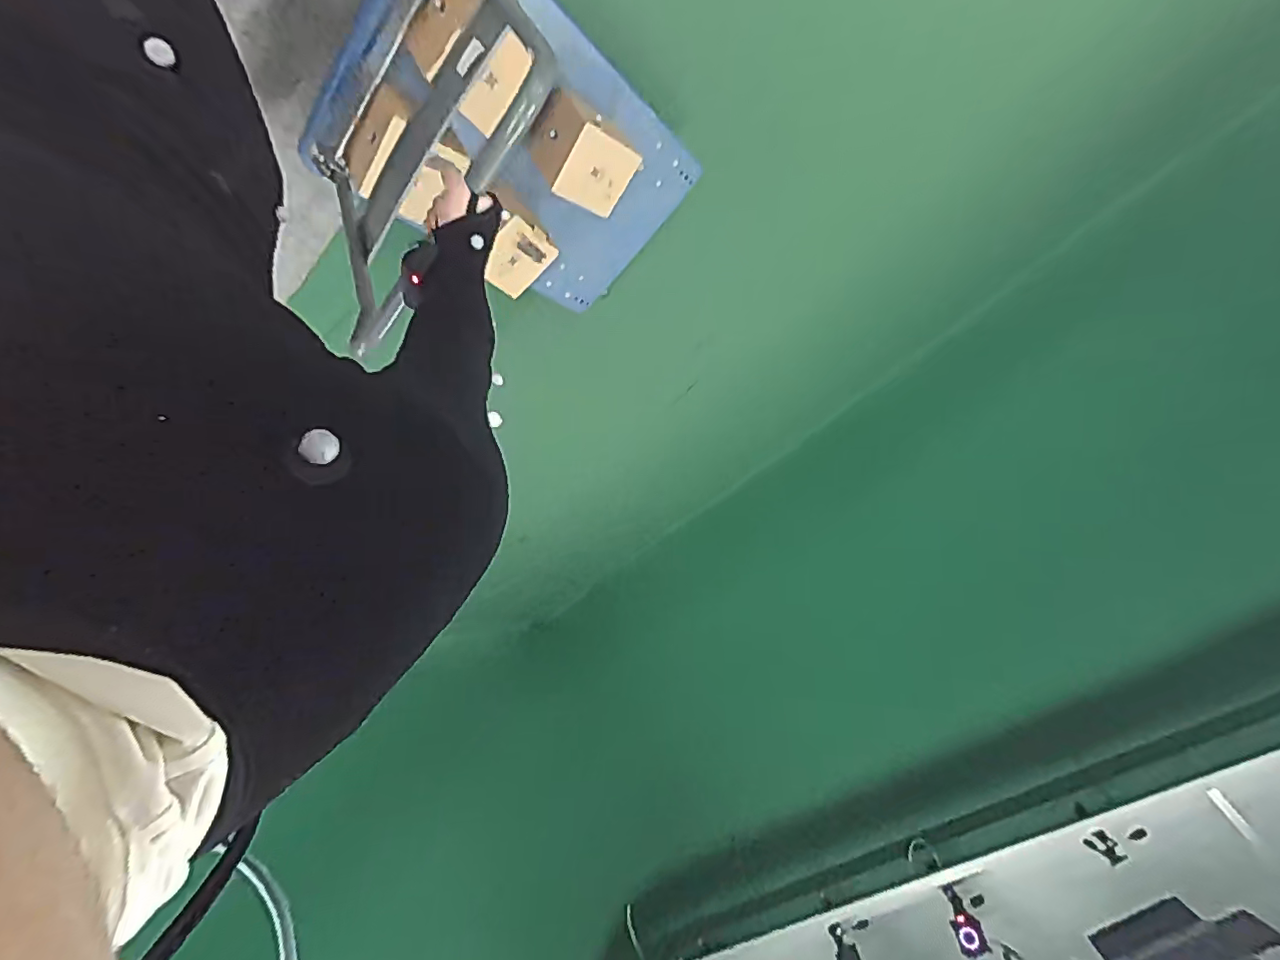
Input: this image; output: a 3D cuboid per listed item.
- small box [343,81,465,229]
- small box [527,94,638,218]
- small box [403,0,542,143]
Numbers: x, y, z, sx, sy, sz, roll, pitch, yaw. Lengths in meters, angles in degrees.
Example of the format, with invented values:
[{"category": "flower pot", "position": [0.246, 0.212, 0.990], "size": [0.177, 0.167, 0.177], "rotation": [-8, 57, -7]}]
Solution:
[{"category": "small box", "position": [-0.498, -0.676, 1.129], "size": [0.168, 0.176, 0.179], "rotation": [9, 136, -49]}, {"category": "small box", "position": [-0.144, -0.773, 1.288], "size": [0.179, 0.176, 0.168], "rotation": [3, 141, -45]}, {"category": "small box", "position": [-0.325, -0.817, 1.048], "size": [0.168, 0.176, 0.179], "rotation": [-38, 151, 20]}]
